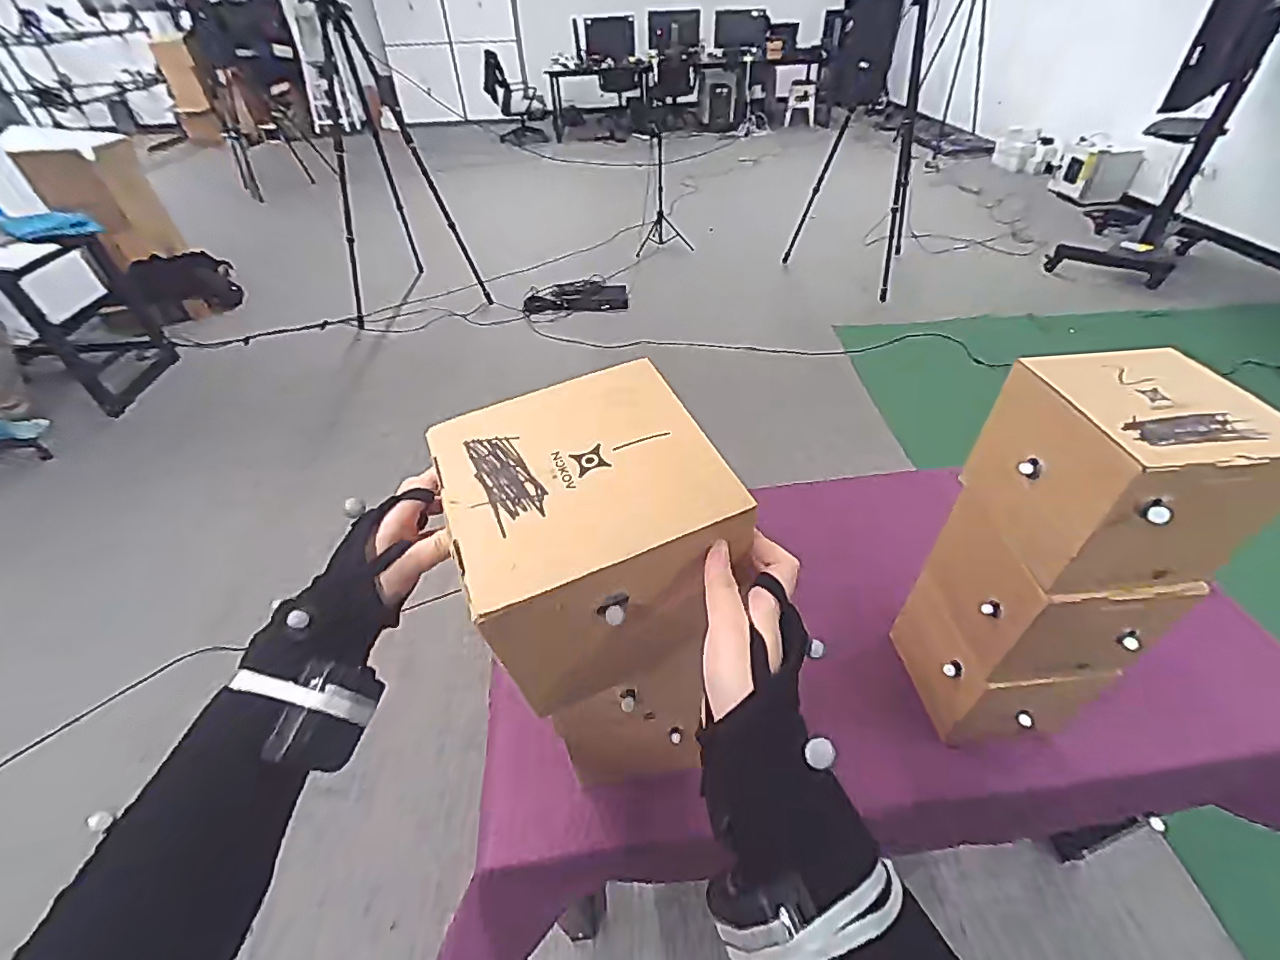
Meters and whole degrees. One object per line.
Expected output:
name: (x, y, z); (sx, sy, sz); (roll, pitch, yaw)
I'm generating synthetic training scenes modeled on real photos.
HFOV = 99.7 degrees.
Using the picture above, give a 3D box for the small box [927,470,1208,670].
small box: (0.479, 0.111, 0.645); (0.168, 0.176, 0.179); (-4, 42, 0)

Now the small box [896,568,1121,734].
small box: (0.488, 0.234, 0.752); (0.168, 0.176, 0.179); (-5, 42, -2)

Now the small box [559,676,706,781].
small box: (-0.012, 0.286, 0.736); (0.179, 0.176, 0.168); (-7, 42, -5)

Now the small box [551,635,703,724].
small box: (-0.025, 0.163, 0.628); (0.168, 0.176, 0.179); (-7, 42, -5)

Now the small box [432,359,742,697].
small box: (-0.037, 0.039, 0.422); (0.179, 0.176, 0.168); (-20, 50, -12)
